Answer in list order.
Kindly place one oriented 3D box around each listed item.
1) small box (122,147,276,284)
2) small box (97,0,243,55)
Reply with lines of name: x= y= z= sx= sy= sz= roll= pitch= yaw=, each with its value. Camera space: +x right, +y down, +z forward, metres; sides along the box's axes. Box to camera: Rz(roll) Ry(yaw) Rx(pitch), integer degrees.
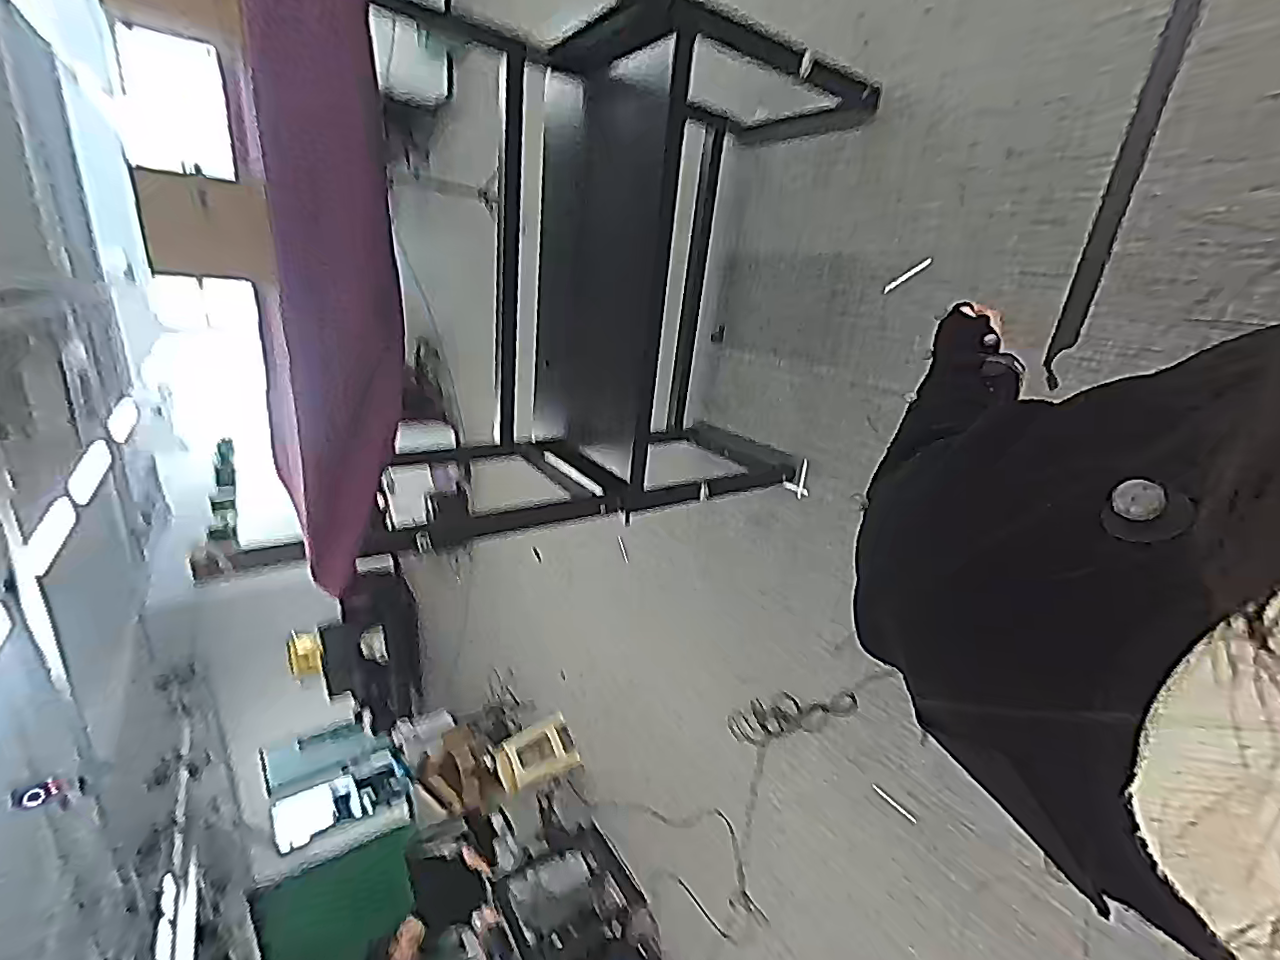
small box: x=-0.723 y=-0.437 z=0.901 sx=0.168 sy=0.176 sz=0.179 roll=39 pitch=128 yaw=46
small box: x=-0.709 y=-0.778 z=0.805 sx=0.168 sy=0.176 sz=0.179 roll=34 pitch=124 yaw=48
